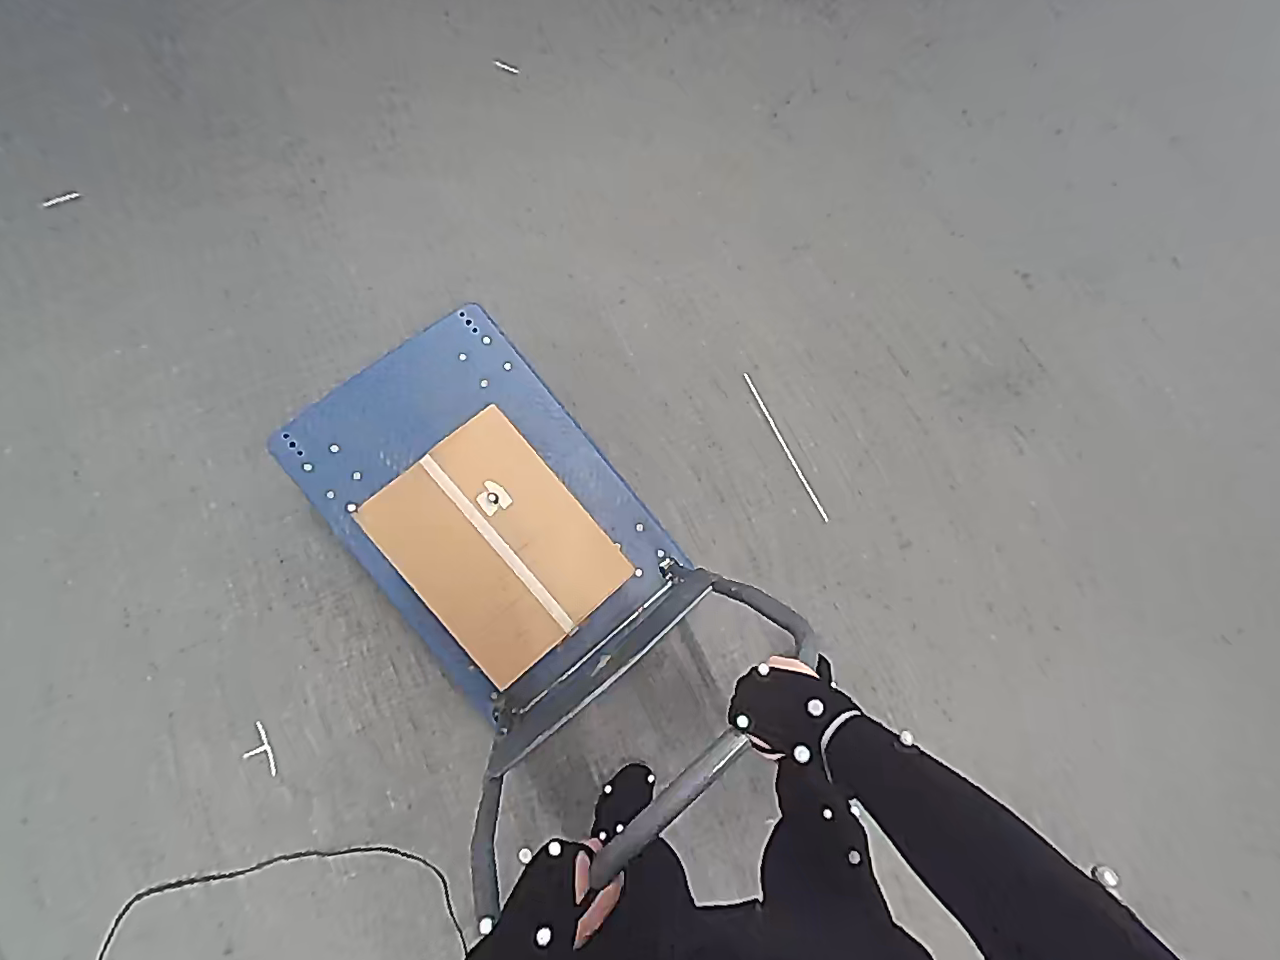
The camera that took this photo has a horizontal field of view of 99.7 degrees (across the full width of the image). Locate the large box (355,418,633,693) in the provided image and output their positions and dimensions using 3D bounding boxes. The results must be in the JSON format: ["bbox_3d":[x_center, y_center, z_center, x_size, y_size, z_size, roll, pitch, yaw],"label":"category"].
[{"bbox_3d":[-0.269,0.146,1.107,0.320,0.320,0.408,-42,89,-10],"label":"large box"}]
